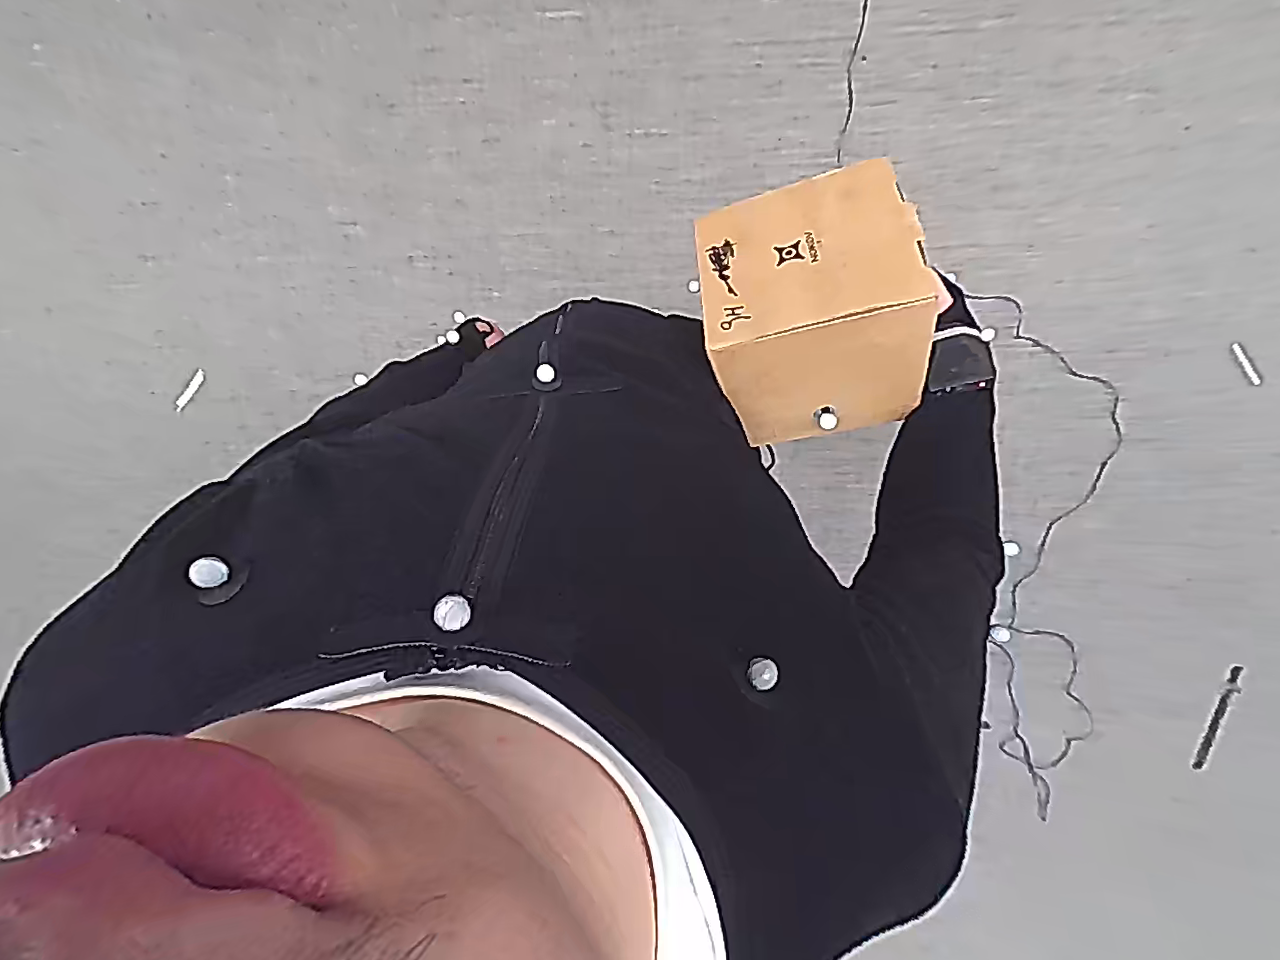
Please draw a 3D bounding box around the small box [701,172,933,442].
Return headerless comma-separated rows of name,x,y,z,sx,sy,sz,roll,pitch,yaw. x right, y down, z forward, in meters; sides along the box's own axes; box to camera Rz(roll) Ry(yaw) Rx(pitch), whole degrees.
small box,0.168,-0.158,0.541,0.179,0.168,0.176,-10,151,16
